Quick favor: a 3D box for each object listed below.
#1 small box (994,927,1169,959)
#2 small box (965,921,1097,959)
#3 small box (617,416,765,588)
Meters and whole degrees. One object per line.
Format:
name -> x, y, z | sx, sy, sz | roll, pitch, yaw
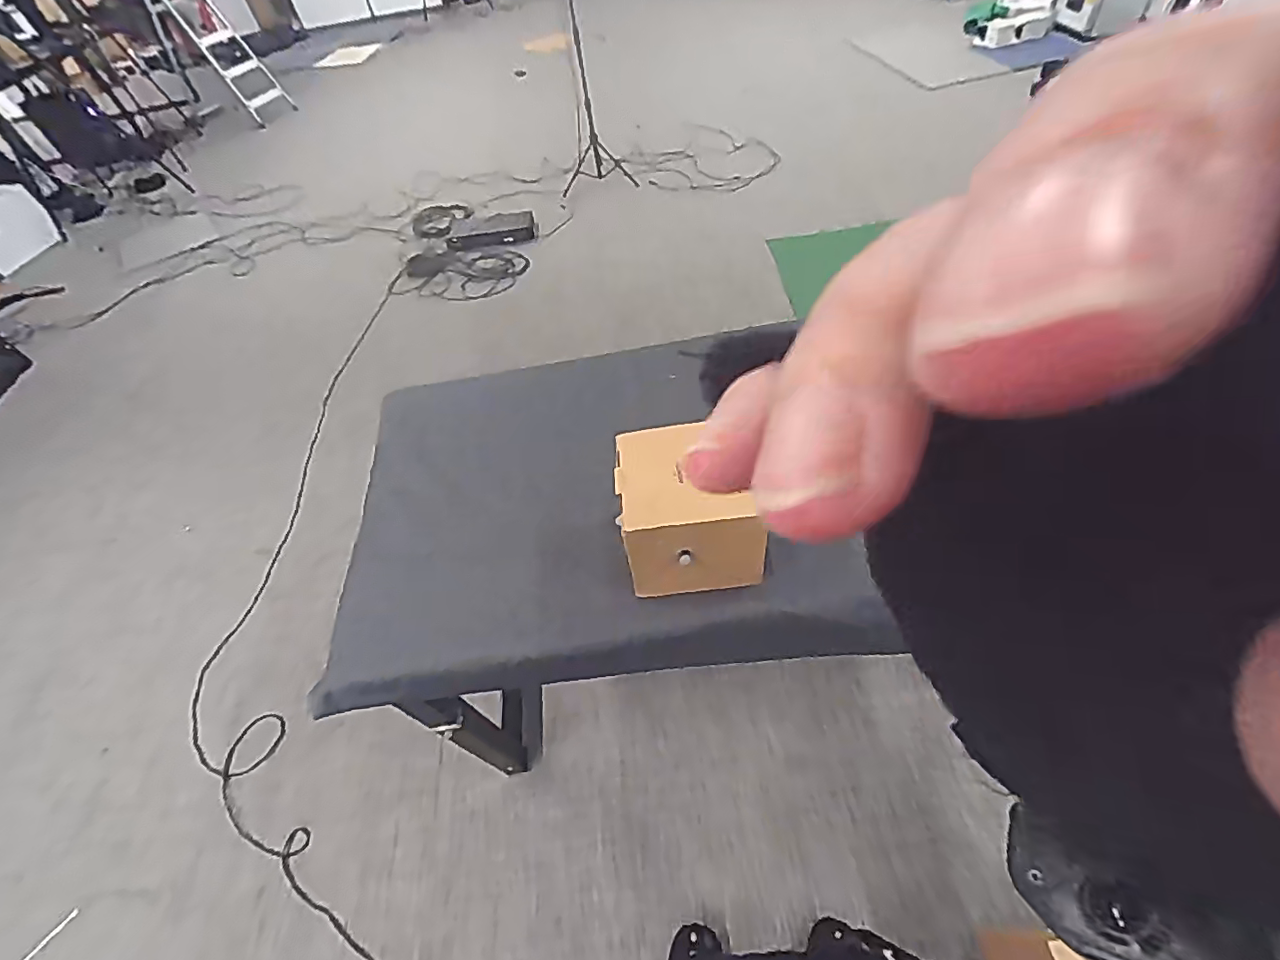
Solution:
small box -> 0.676, 0.776, 0.802 | 0.179, 0.176, 0.168 | -8, 50, 3
small box -> 0.706, 0.876, 0.931 | 0.179, 0.176, 0.168 | -10, 50, 2
small box -> 0.068, 0.036, 0.745 | 0.179, 0.176, 0.168 | -6, 51, 3
